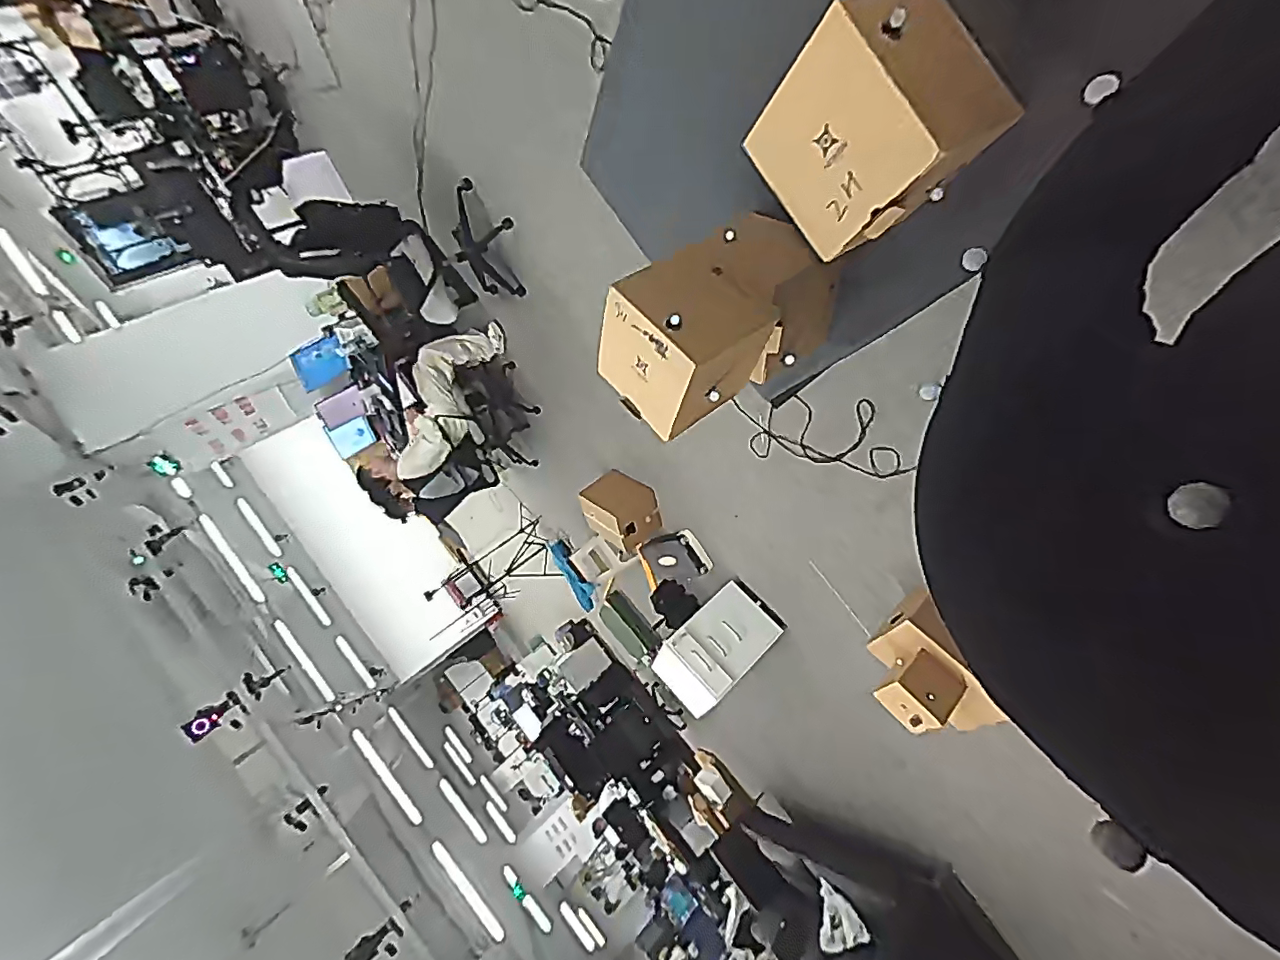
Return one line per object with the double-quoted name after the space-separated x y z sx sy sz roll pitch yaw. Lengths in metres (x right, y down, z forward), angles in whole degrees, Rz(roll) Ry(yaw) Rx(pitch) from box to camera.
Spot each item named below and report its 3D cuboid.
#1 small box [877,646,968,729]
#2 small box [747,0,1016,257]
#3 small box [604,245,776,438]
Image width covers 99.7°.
0.932 0.683 1.780 0.179 0.176 0.168 44 151 19 "small box"
0.261 -0.391 0.598 0.179 0.176 0.168 54 155 0 "small box"
0.068 -0.200 0.783 0.168 0.176 0.179 47 155 16 "small box"
